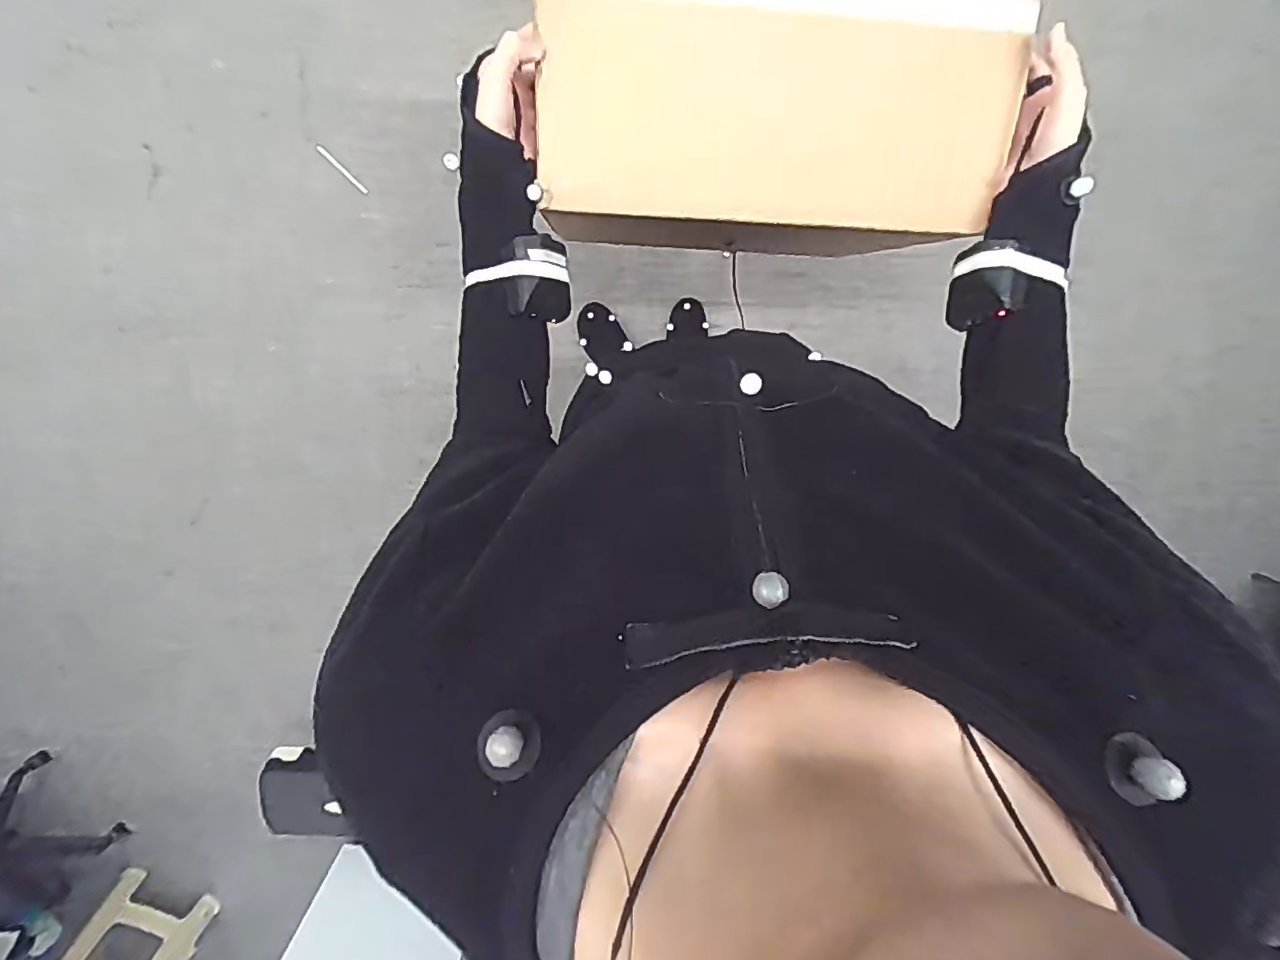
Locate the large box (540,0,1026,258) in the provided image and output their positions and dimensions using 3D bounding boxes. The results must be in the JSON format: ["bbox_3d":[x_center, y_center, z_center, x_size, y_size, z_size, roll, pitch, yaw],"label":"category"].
[{"bbox_3d":[0.111,-0.418,0.583,0.408,0.320,0.320,1,107,-4],"label":"large box"}]
